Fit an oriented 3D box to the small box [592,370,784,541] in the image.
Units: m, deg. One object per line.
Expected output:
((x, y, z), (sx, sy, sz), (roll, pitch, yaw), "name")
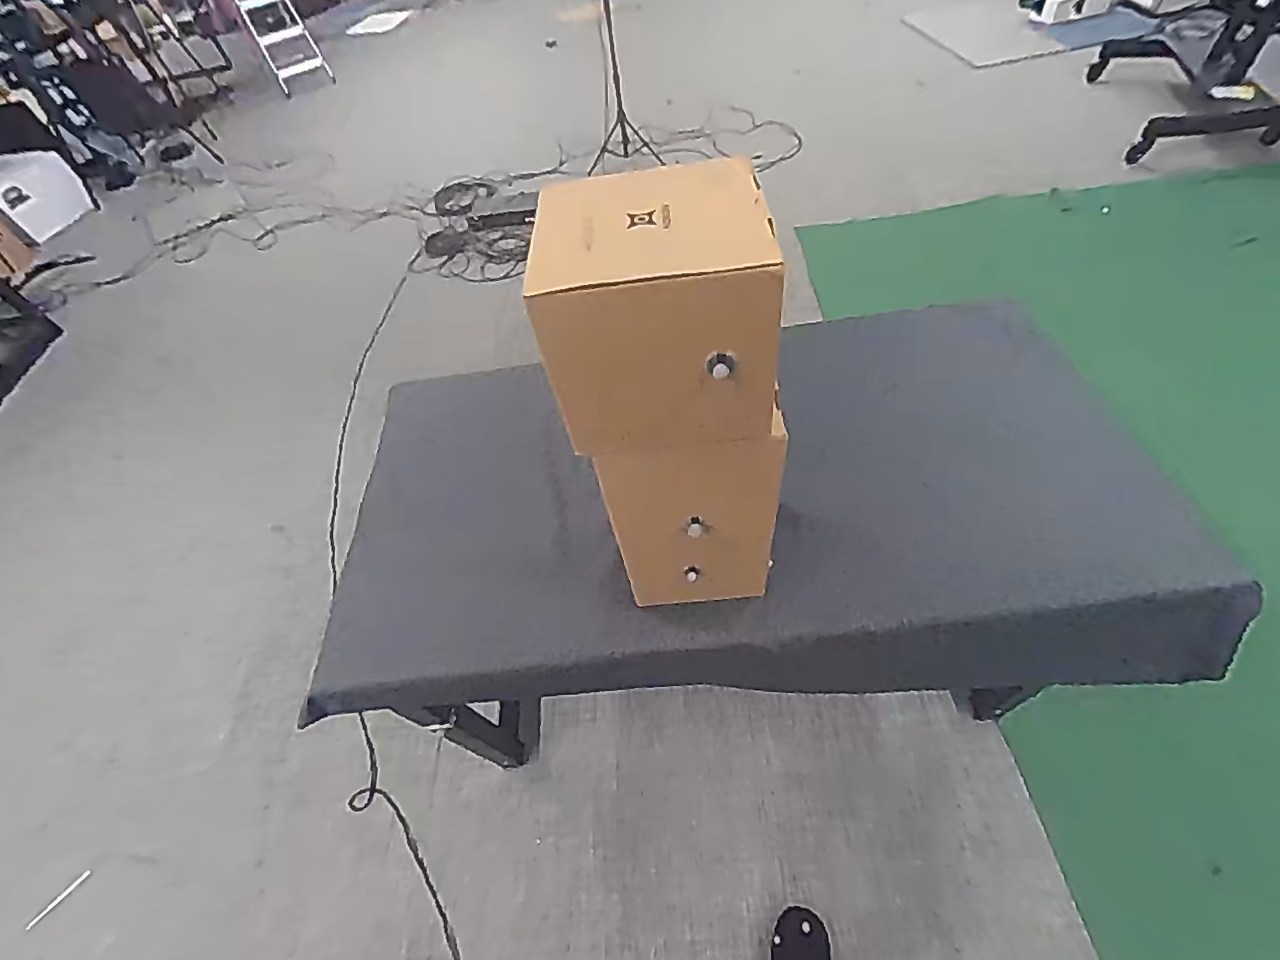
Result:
((0.049, -0.046, 0.595), (0.179, 0.176, 0.168), (-5, 53, 5), "small box")

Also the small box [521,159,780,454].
((0.015, -0.141, 0.467), (0.179, 0.176, 0.168), (-7, 51, 6), "small box")

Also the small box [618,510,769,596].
((0.070, 0.045, 0.726), (0.179, 0.176, 0.168), (-4, 51, 6), "small box")
